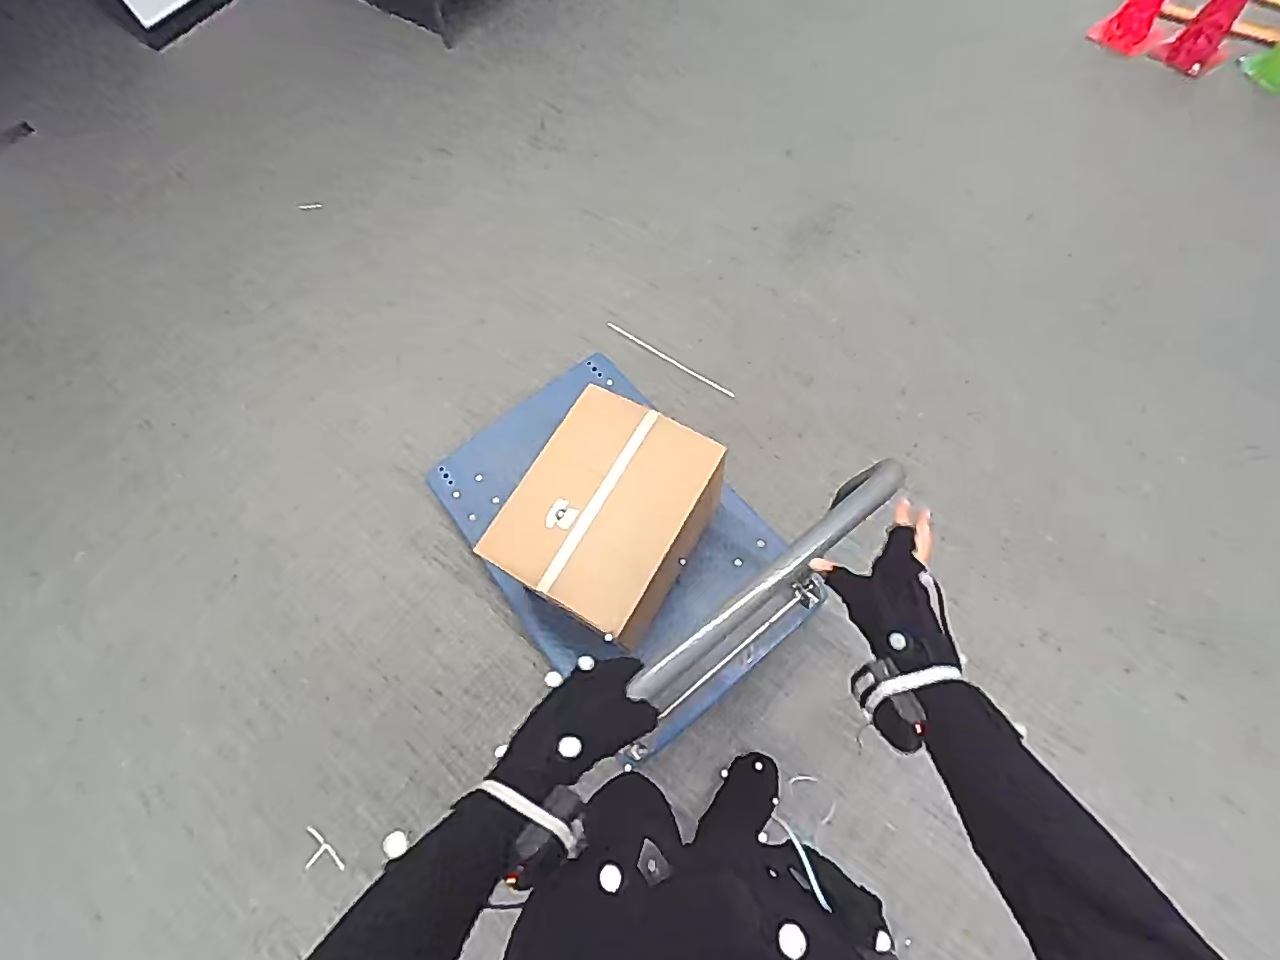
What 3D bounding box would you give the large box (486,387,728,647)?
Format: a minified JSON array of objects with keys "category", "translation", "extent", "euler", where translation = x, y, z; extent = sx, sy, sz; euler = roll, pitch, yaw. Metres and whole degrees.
[{"category":"large box","translation":[-0.046,0.090,1.142],"extent":[0.320,0.320,0.408],"euler":[27,74,15]}]
